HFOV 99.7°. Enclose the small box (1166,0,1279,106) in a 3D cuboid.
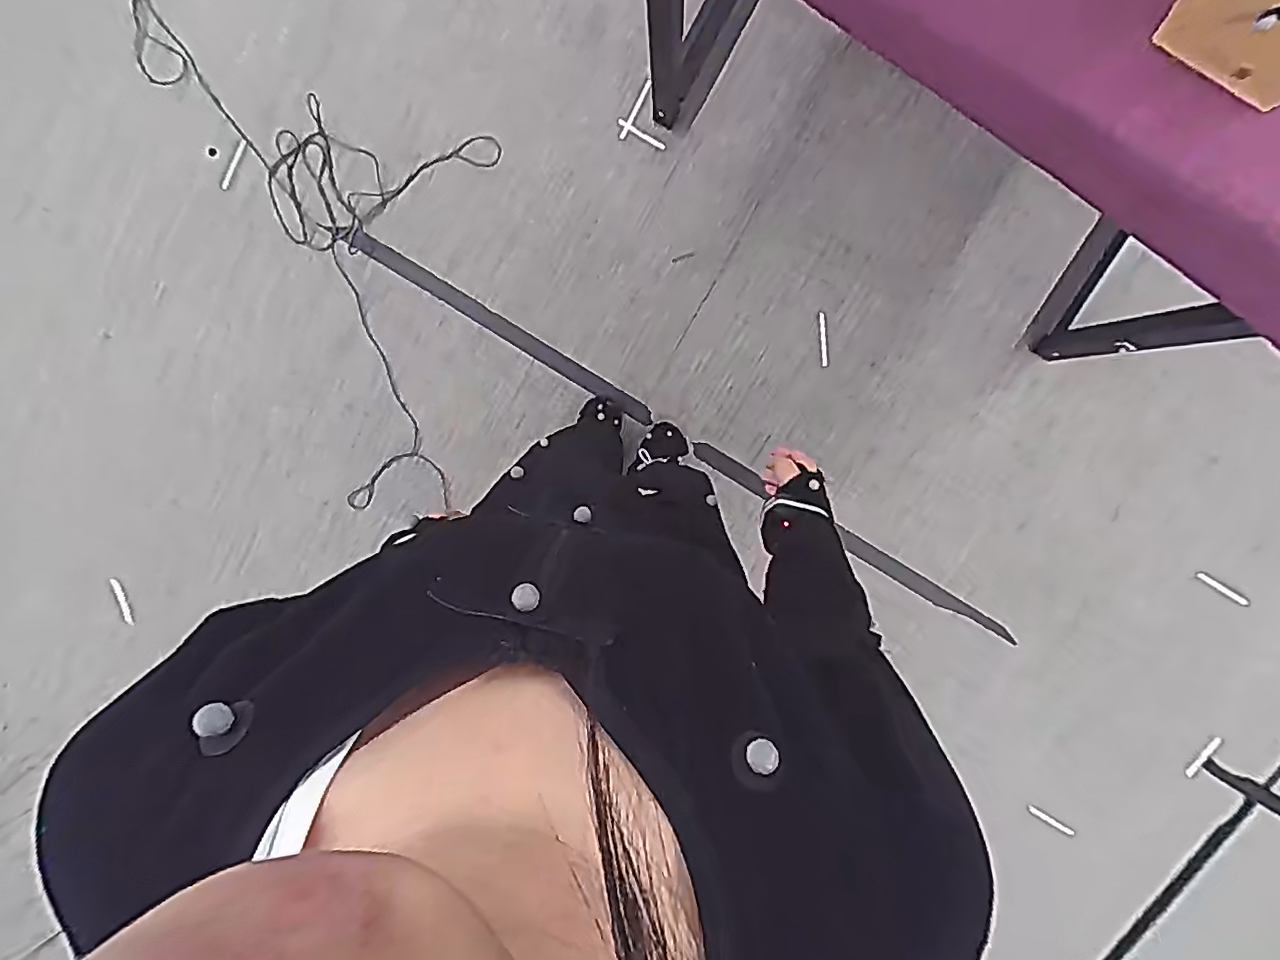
[{"bbox_3d":[0.724,-0.547,0.565,0.168,0.176,0.179,31,98,-1],"label":"small box"}]
